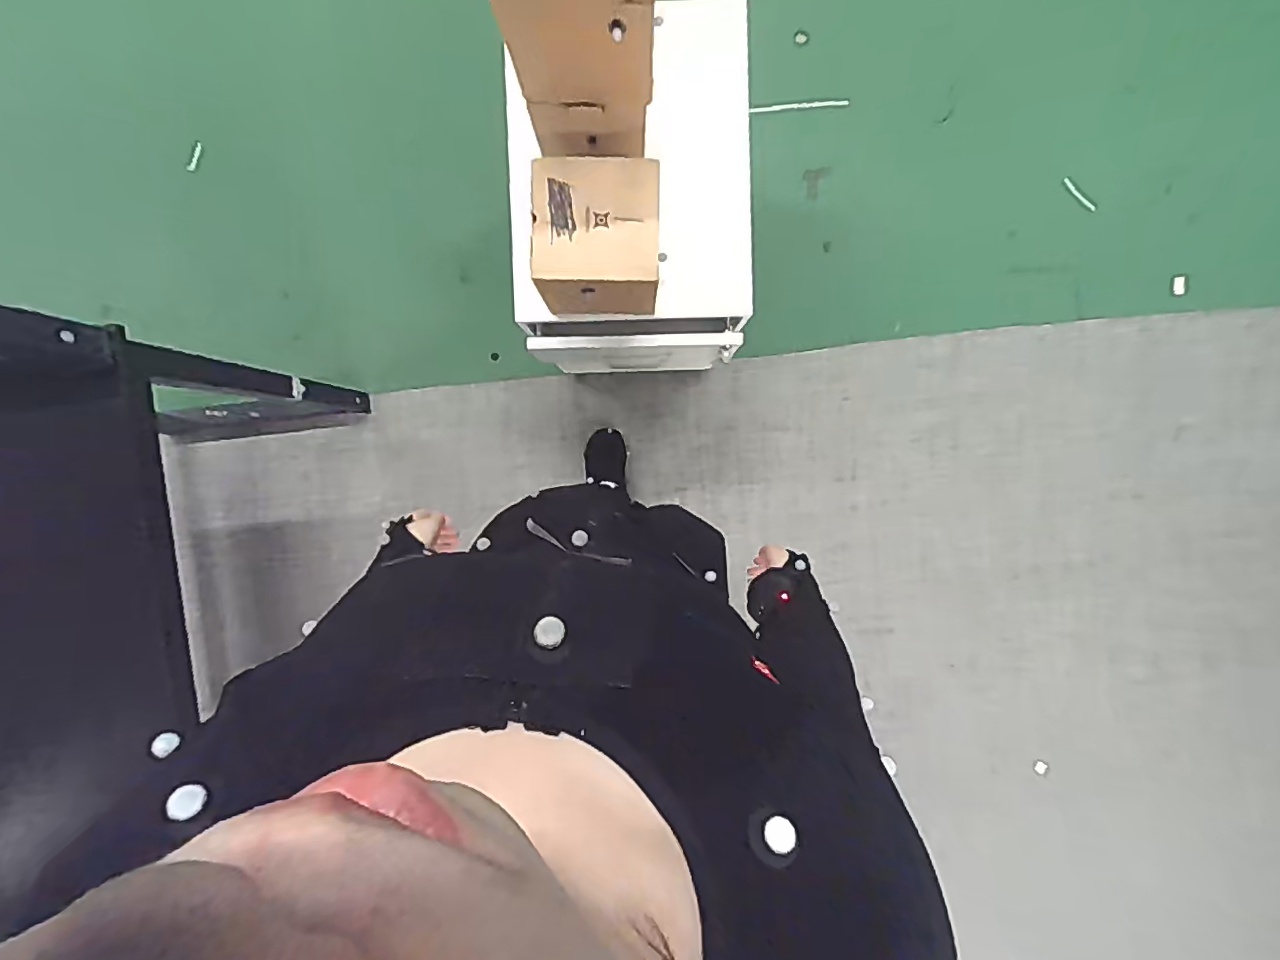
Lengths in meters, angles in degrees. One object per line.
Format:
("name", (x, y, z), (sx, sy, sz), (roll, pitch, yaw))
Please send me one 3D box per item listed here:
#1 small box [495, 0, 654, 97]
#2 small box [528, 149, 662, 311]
("small box", (-0.071, -0.579, 0.623), (0.179, 0.176, 0.168), (2, 93, -1))
("small box", (-0.060, -0.354, 0.794), (0.179, 0.176, 0.168), (1, 91, -1))
